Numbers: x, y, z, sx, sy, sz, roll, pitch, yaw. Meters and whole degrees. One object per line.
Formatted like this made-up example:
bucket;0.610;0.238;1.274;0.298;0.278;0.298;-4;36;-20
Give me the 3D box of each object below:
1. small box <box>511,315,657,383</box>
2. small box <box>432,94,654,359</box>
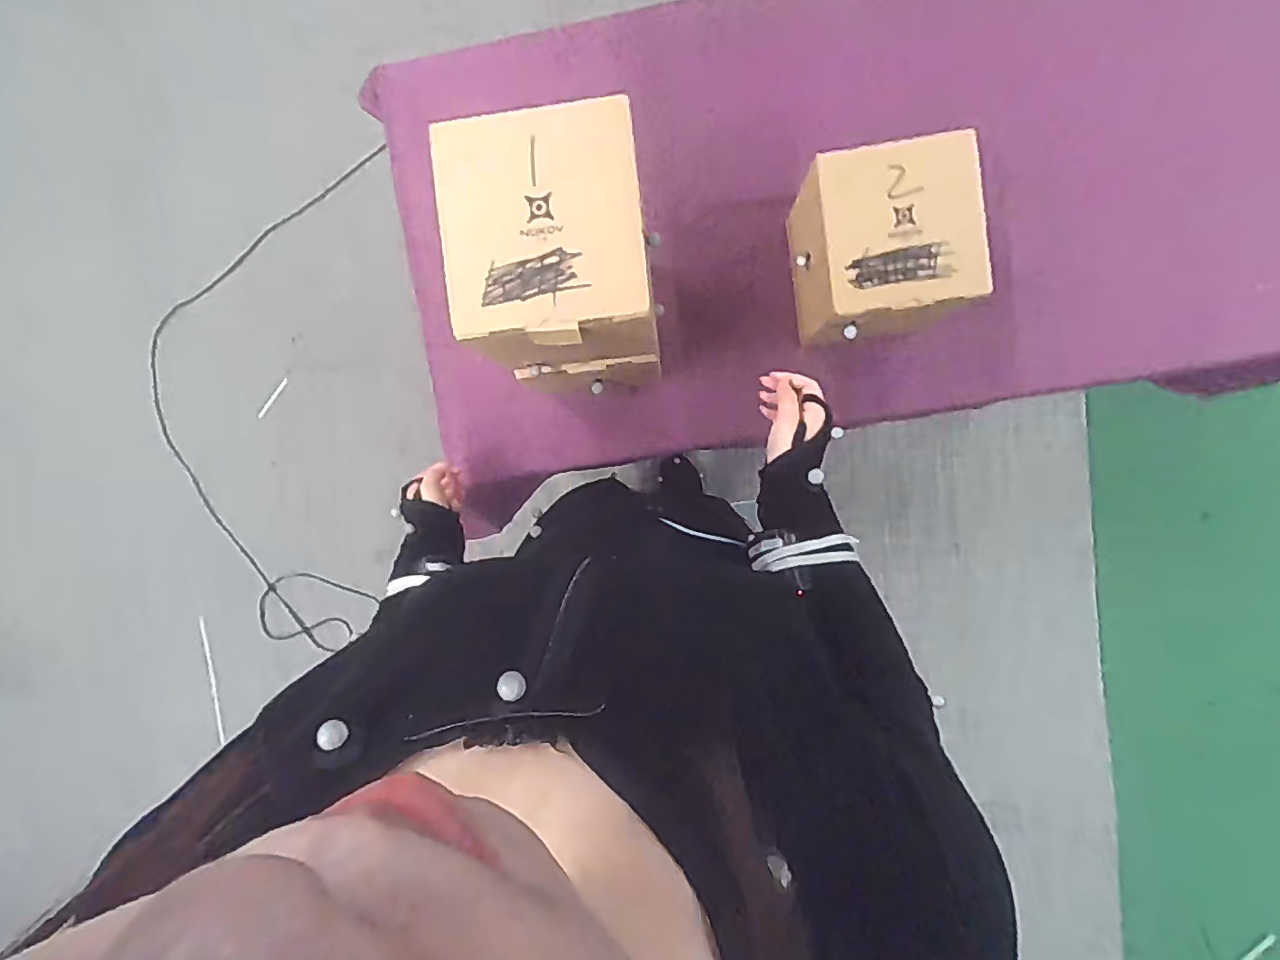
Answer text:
small box;-0.068;-0.219;0.680;0.168;0.176;0.179;-6;94;3
small box;-0.076;-0.216;0.515;0.168;0.176;0.179;-5;92;3
